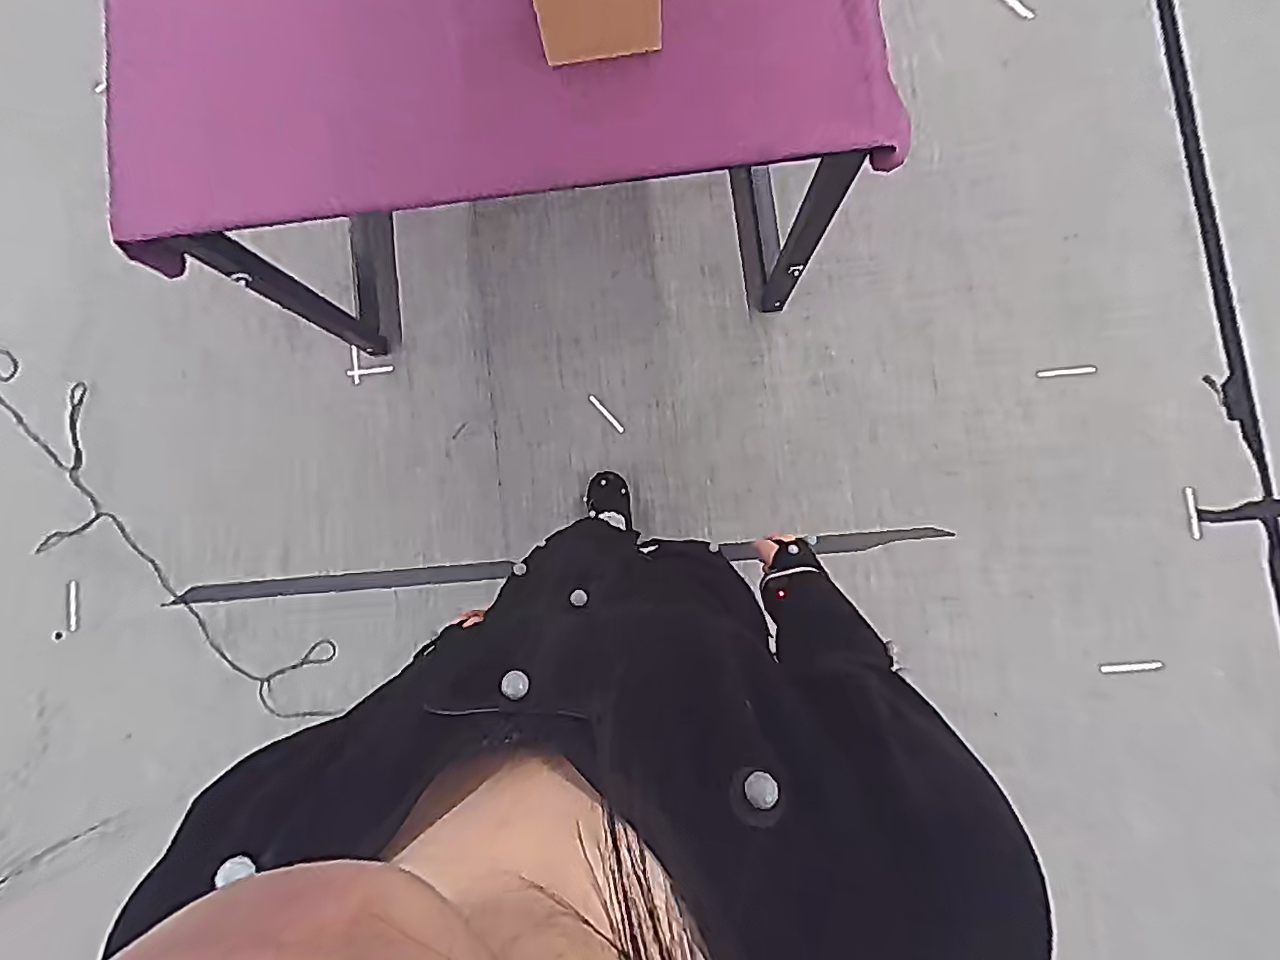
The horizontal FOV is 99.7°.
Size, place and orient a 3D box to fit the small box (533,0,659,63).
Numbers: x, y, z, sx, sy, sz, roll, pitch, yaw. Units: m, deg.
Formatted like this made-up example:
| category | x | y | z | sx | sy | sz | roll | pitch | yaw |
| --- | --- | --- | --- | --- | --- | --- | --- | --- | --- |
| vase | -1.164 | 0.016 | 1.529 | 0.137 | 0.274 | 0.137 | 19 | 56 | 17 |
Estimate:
| category | x | y | z | sx | sy | sz | roll | pitch | yaw |
| --- | --- | --- | --- | --- | --- | --- | --- | --- | --- |
| small box | -0.066 | -0.730 | 0.751 | 0.179 | 0.176 | 0.168 | -7 | 85 | 2 |
